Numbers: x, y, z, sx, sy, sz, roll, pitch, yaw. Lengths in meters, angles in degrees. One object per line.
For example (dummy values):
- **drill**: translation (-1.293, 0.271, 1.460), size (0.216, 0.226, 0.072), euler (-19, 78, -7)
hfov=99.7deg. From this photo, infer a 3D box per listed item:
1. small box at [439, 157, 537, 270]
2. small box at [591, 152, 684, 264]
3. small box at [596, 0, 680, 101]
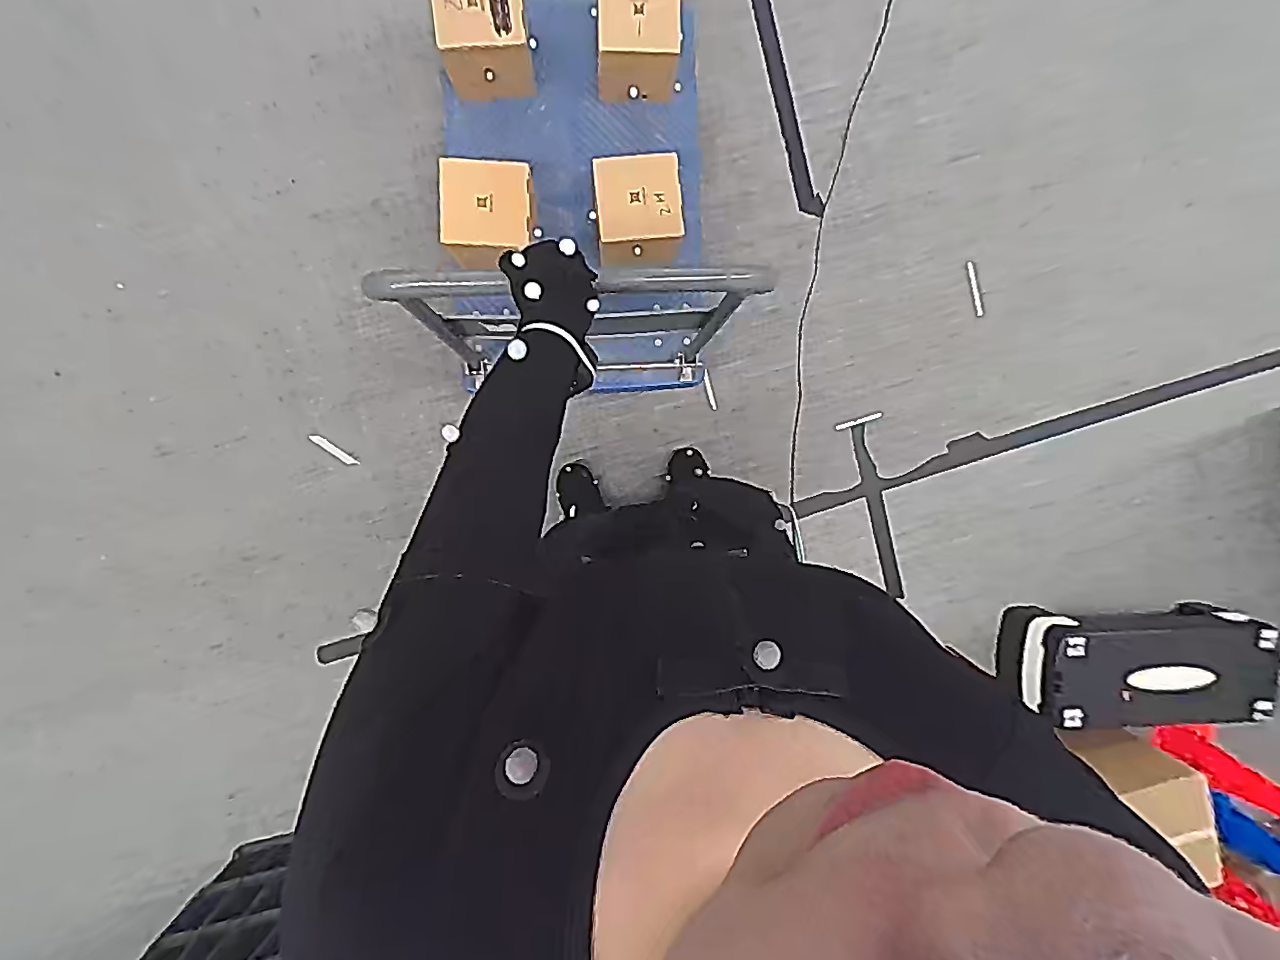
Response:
- **small box**: translation (-0.316, -0.558, 1.153), size (0.179, 0.176, 0.168), euler (0, 94, -6)
- **small box**: translation (-0.008, -0.580, 1.174), size (0.179, 0.176, 0.168), euler (-6, 95, -3)
- **small box**: translation (-0.009, -0.946, 1.142), size (0.168, 0.176, 0.179), euler (-1, 96, -4)
